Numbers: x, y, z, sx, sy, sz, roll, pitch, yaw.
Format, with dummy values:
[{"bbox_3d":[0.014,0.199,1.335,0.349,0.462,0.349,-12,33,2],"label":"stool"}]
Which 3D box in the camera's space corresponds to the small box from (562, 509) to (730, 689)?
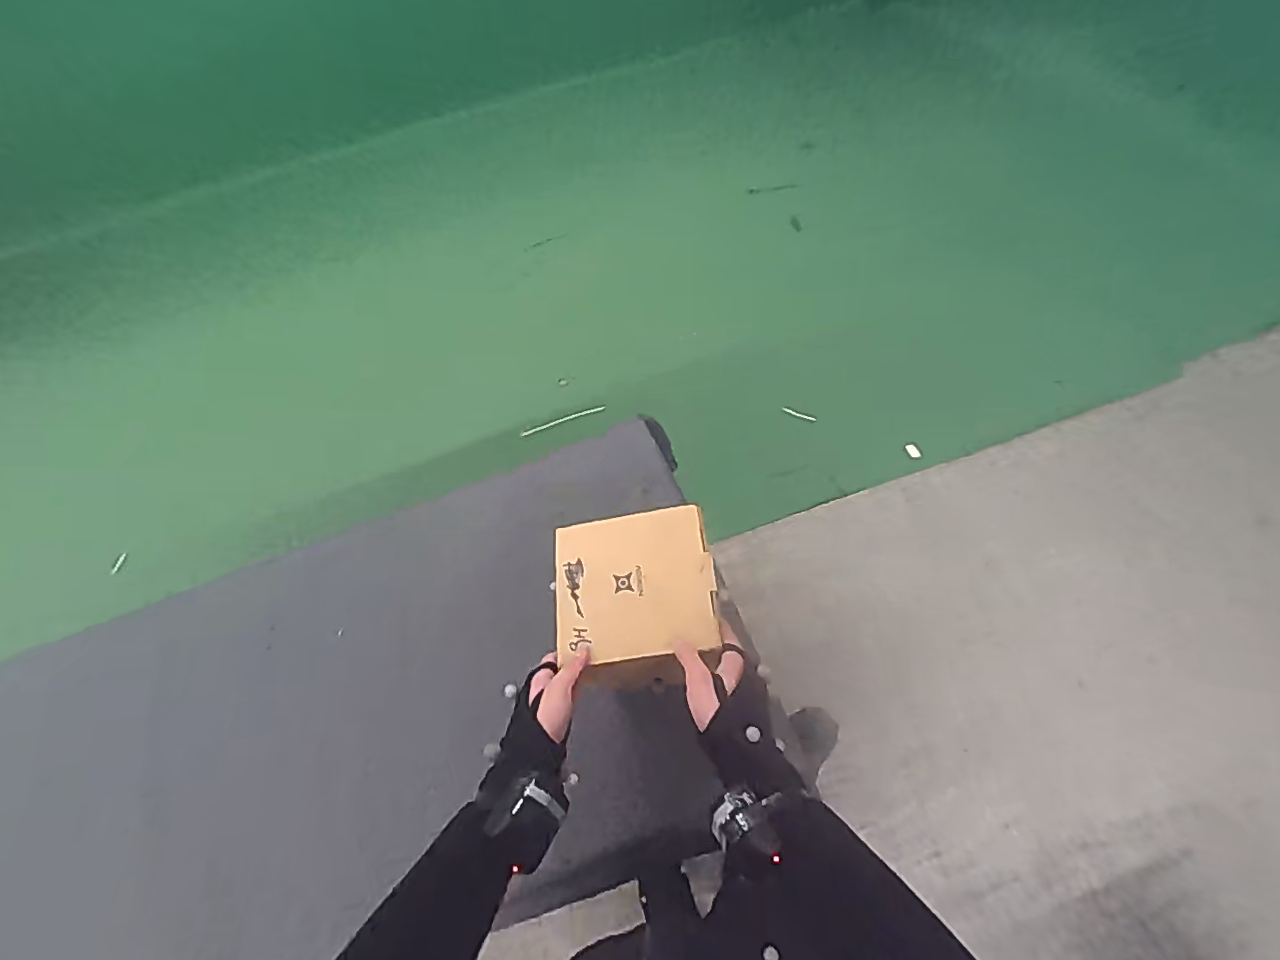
[{"bbox_3d":[0.012,0.152,0.657,0.179,0.176,0.168,-8,60,6],"label":"small box"}]
